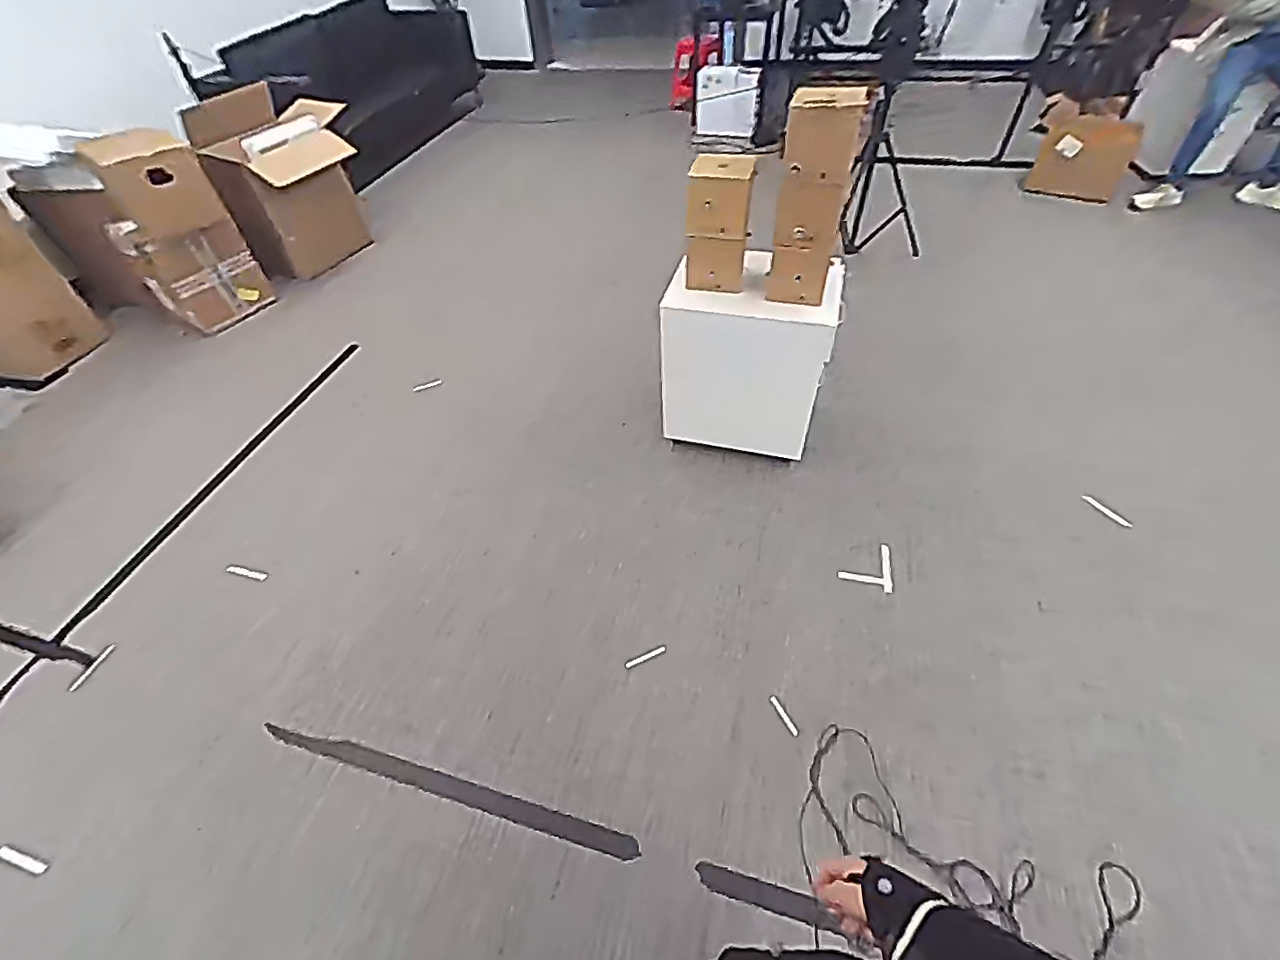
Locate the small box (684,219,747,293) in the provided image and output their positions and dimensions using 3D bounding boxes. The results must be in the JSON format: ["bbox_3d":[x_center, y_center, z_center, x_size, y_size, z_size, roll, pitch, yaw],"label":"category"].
[{"bbox_3d":[0.230,-0.702,1.666,0.168,0.176,0.179,9,50,11],"label":"small box"}]

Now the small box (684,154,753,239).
[{"bbox_3d":[0.223,-0.806,1.541,0.168,0.176,0.179,10,49,11],"label":"small box"}]

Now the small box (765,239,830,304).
[{"bbox_3d":[0.467,-0.640,1.596,0.168,0.176,0.179,10,52,15],"label":"small box"}]

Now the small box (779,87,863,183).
[{"bbox_3d":[0.450,-0.862,1.354,0.168,0.176,0.179,12,49,16],"label":"small box"}]

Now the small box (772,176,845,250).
[{"bbox_3d":[0.460,-0.755,1.479,0.168,0.176,0.179,10,51,15],"label":"small box"}]
